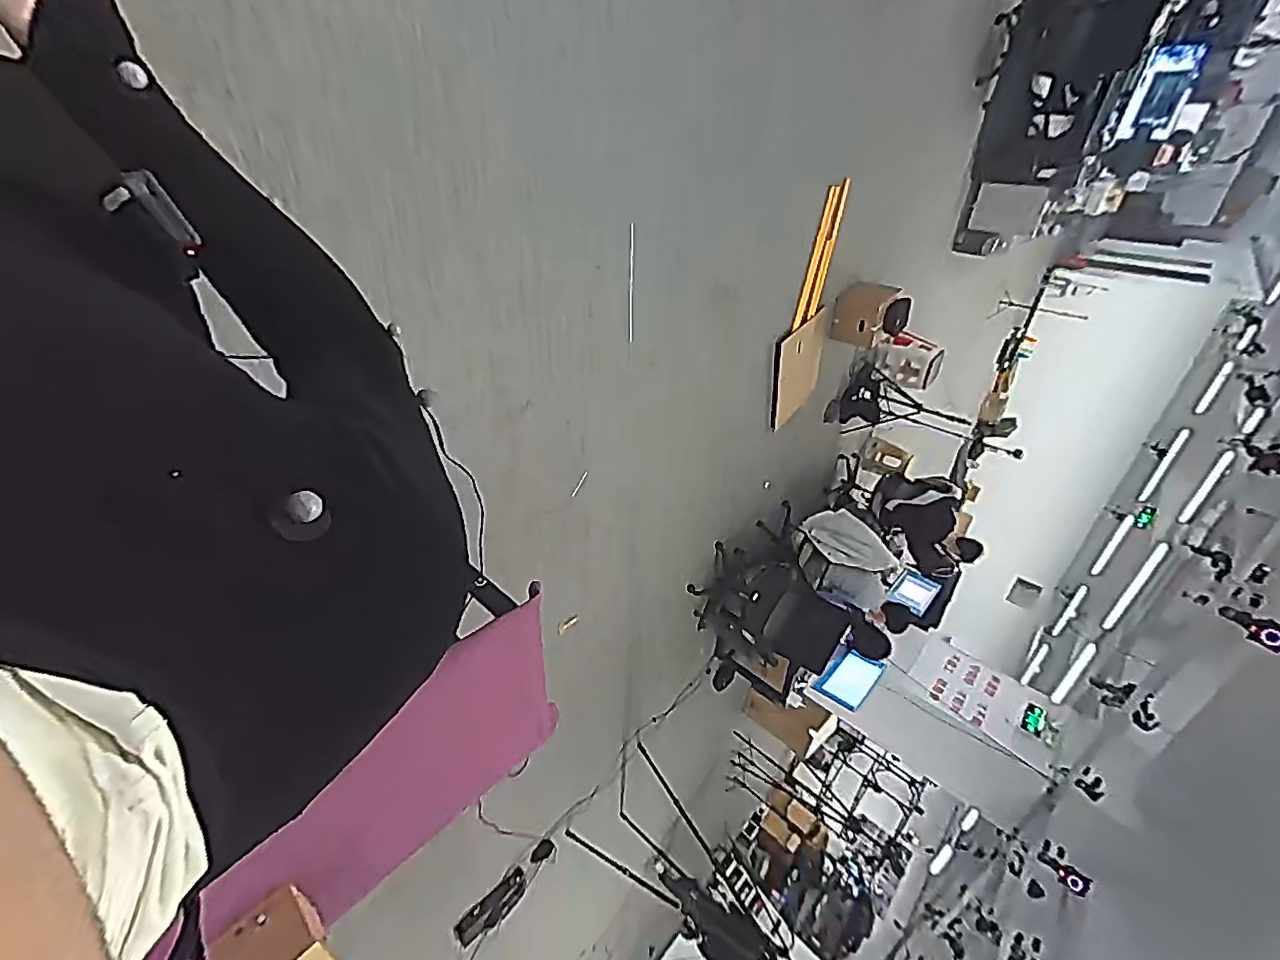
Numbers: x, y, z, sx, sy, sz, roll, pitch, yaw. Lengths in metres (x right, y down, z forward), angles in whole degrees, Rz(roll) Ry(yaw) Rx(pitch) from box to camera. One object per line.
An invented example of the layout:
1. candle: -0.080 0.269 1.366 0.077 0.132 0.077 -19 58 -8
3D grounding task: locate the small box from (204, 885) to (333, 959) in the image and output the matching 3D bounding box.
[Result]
1. small box: -0.784 1.024 1.154 0.168 0.176 0.179 -32 135 -39
